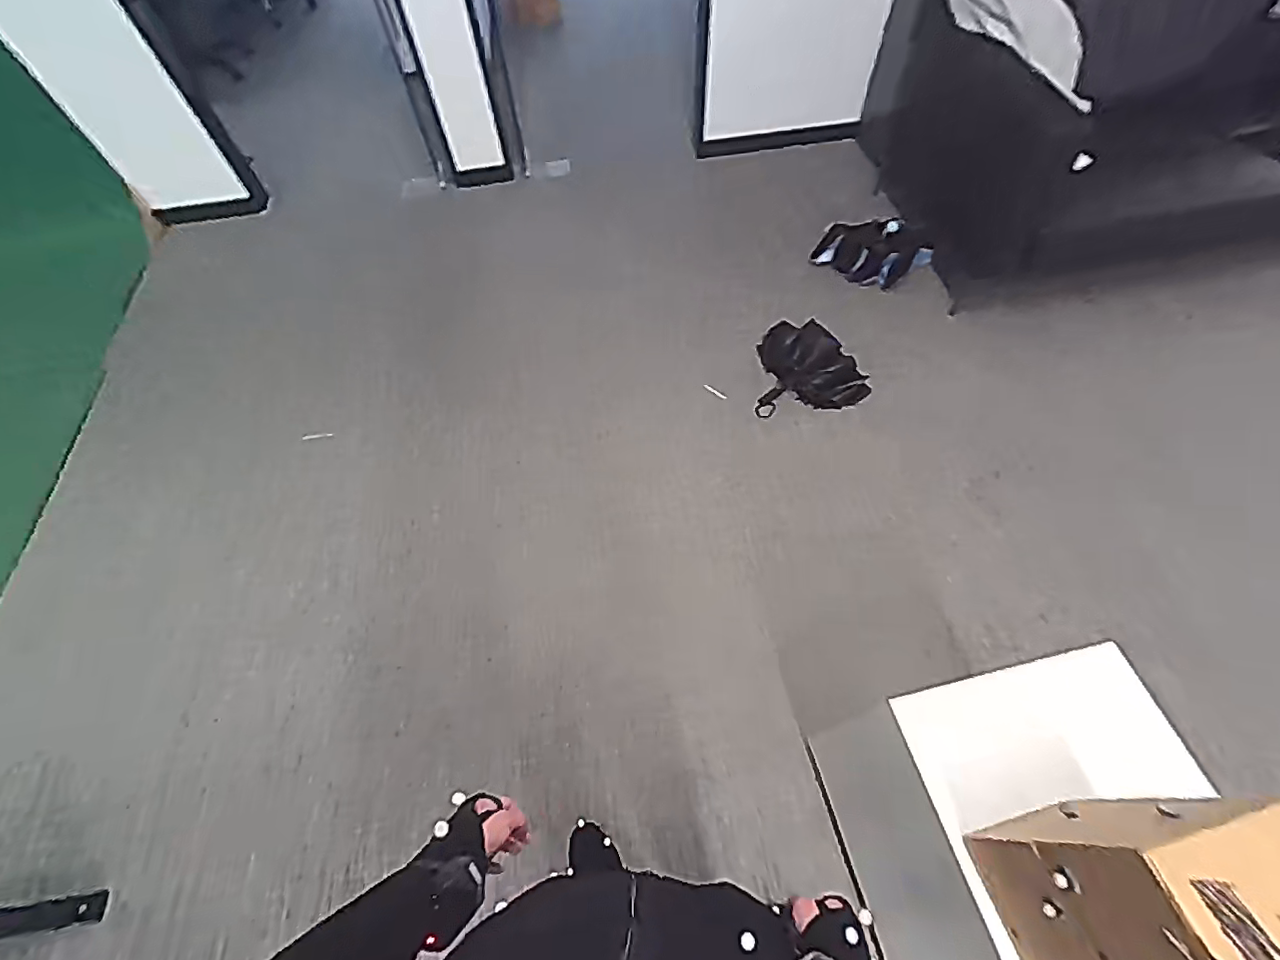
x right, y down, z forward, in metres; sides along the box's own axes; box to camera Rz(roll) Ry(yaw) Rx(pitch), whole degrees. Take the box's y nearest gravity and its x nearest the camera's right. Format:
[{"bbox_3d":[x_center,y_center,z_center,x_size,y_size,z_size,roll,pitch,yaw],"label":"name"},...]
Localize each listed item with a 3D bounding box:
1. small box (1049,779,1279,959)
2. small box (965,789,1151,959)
[{"bbox_3d":[0.549,0.408,0.521,0.179,0.176,0.168,-13,59,-8],"label":"small box"},{"bbox_3d":[0.551,0.496,0.661,0.179,0.176,0.168,-14,58,-9],"label":"small box"}]
